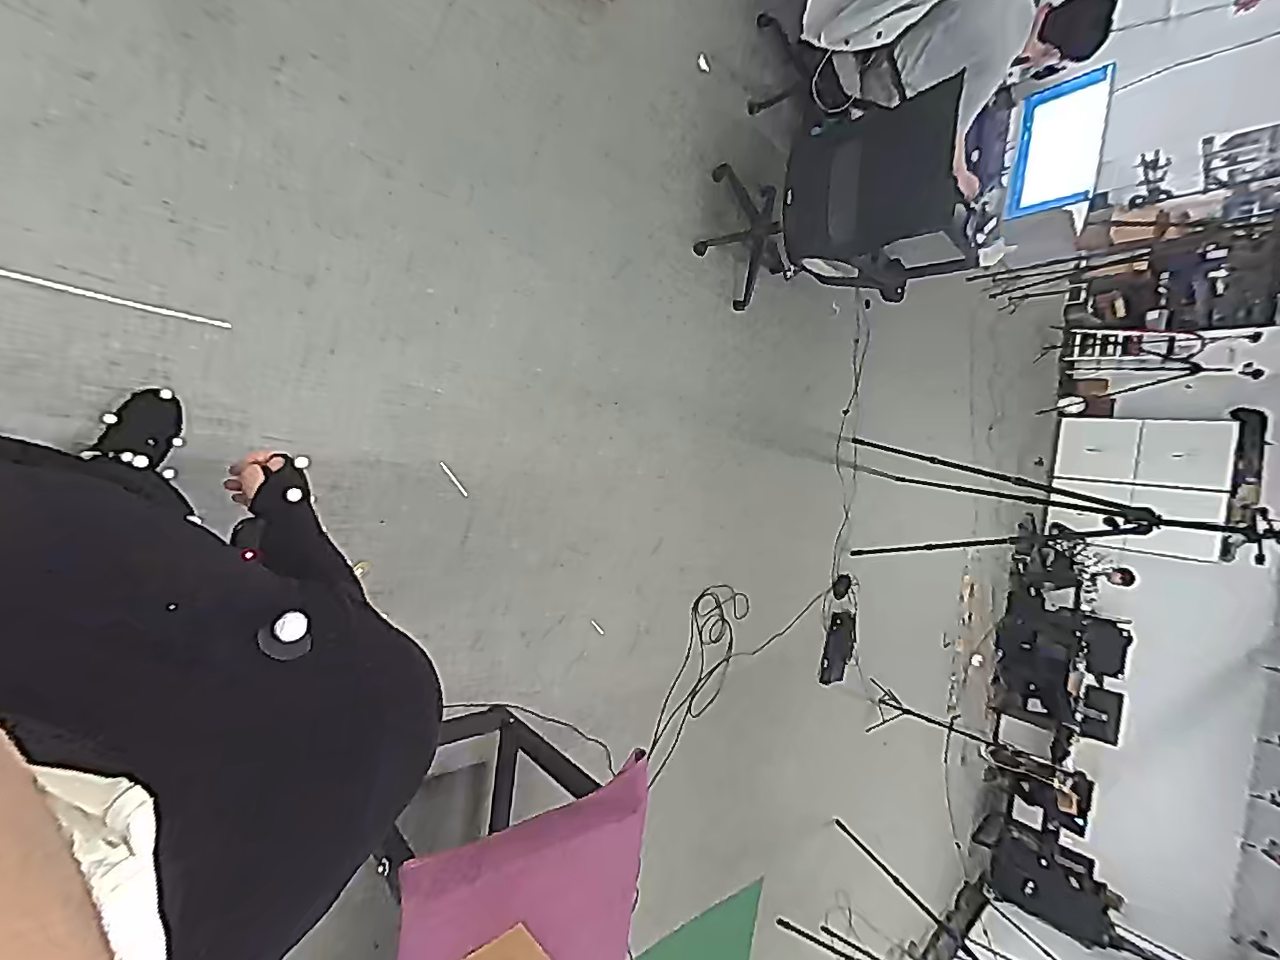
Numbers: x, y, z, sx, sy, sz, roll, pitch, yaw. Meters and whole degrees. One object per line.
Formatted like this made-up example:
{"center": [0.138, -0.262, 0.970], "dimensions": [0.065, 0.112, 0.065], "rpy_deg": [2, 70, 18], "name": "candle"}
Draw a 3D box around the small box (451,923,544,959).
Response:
{"center": [-0.292, 1.051, 1.074], "dimensions": [0.179, 0.176, 0.168], "rpy_deg": [2, 95, -45], "name": "small box"}
